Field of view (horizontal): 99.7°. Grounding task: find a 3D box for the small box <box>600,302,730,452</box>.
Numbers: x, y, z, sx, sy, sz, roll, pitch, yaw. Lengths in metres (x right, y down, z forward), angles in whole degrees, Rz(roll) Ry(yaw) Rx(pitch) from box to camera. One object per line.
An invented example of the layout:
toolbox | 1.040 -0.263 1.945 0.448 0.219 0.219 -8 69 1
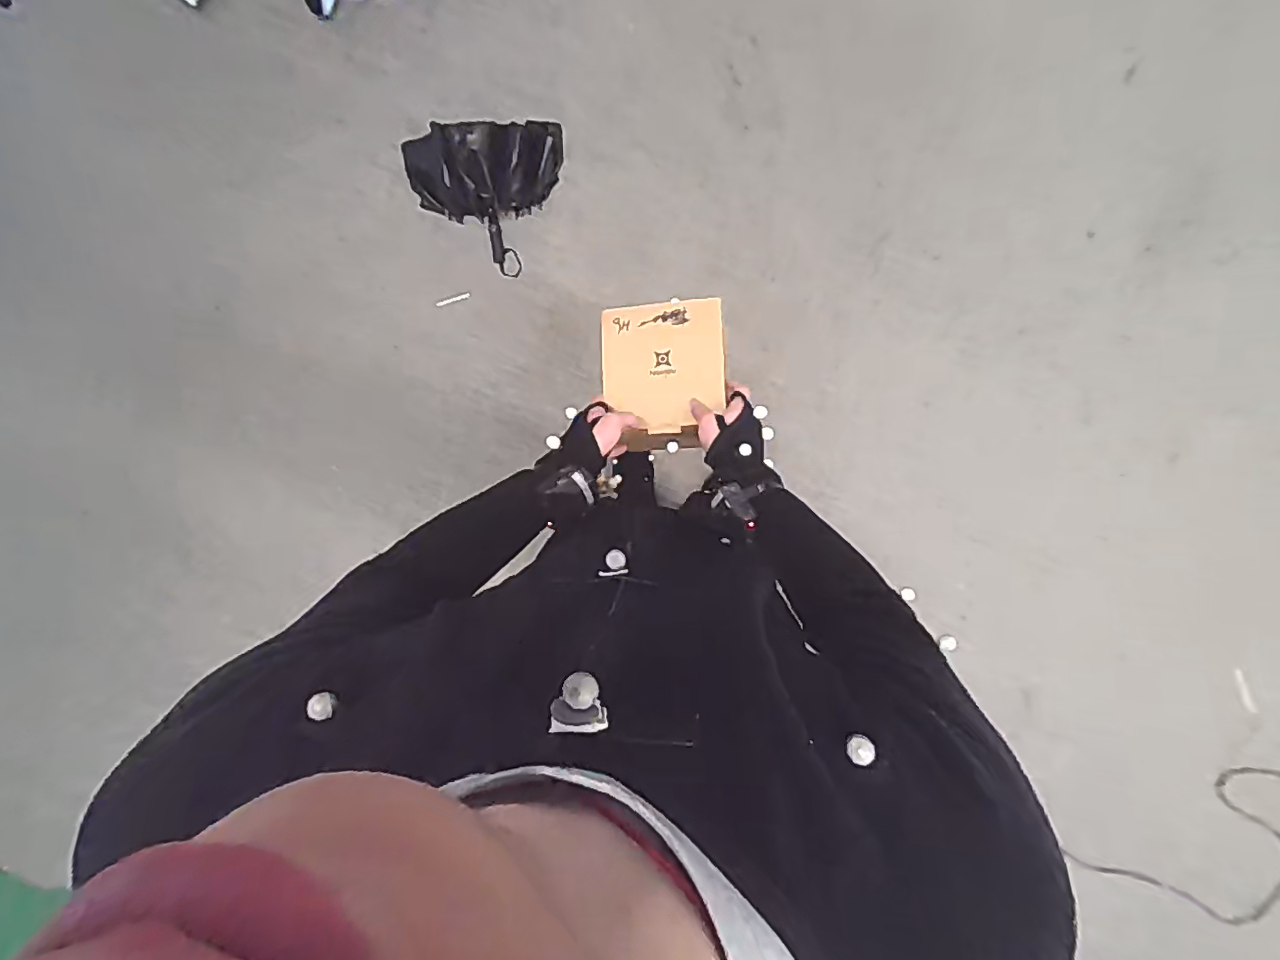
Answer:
small box | 0.043 -0.135 0.784 0.168 0.176 0.179 -3 84 10
